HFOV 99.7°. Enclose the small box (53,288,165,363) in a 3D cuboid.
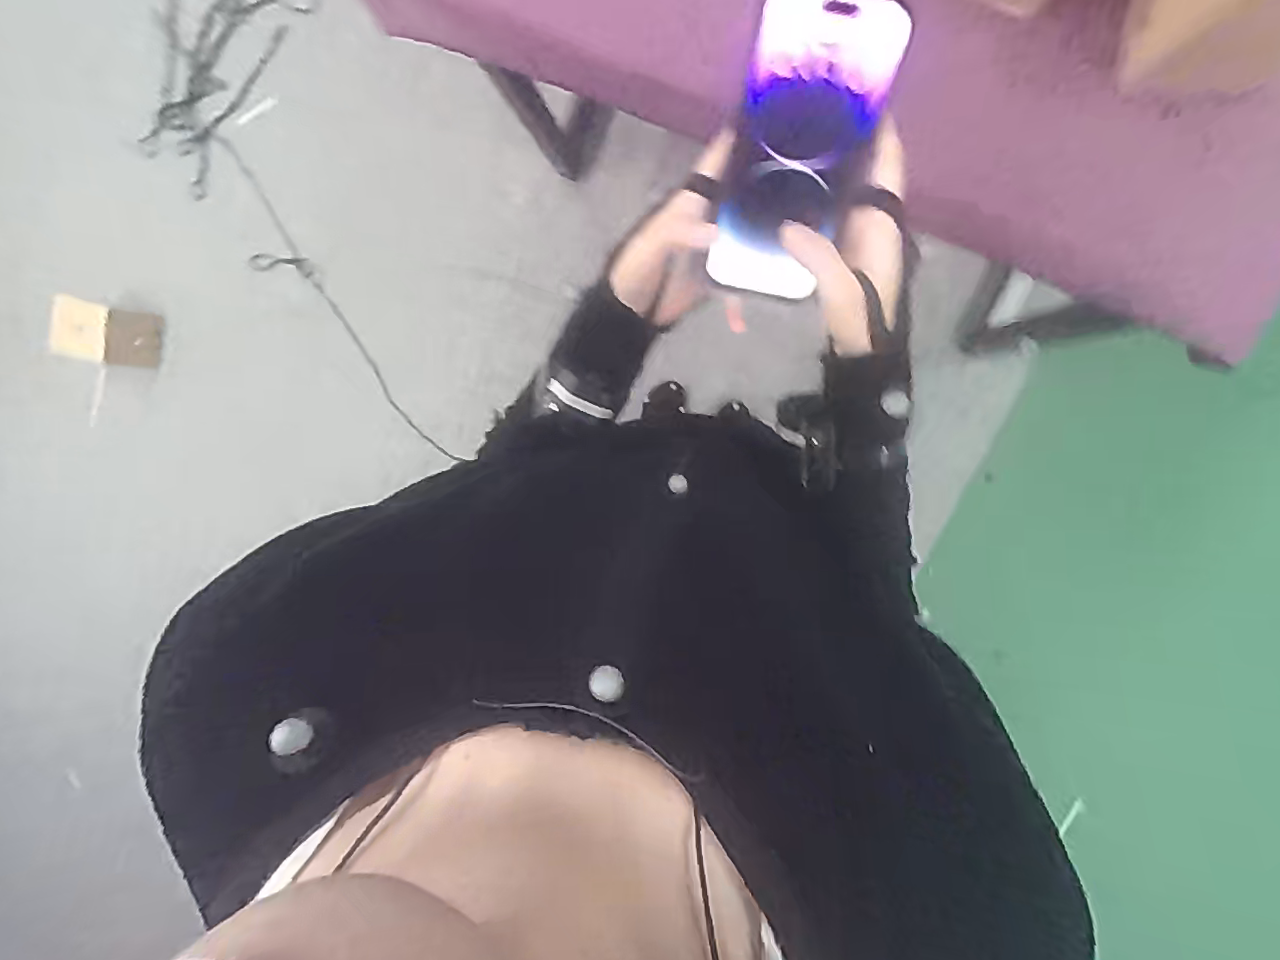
[{"bbox_3d":[-1.569,-0.451,1.605,0.179,0.176,0.168,18,100,6],"label":"small box"}]
